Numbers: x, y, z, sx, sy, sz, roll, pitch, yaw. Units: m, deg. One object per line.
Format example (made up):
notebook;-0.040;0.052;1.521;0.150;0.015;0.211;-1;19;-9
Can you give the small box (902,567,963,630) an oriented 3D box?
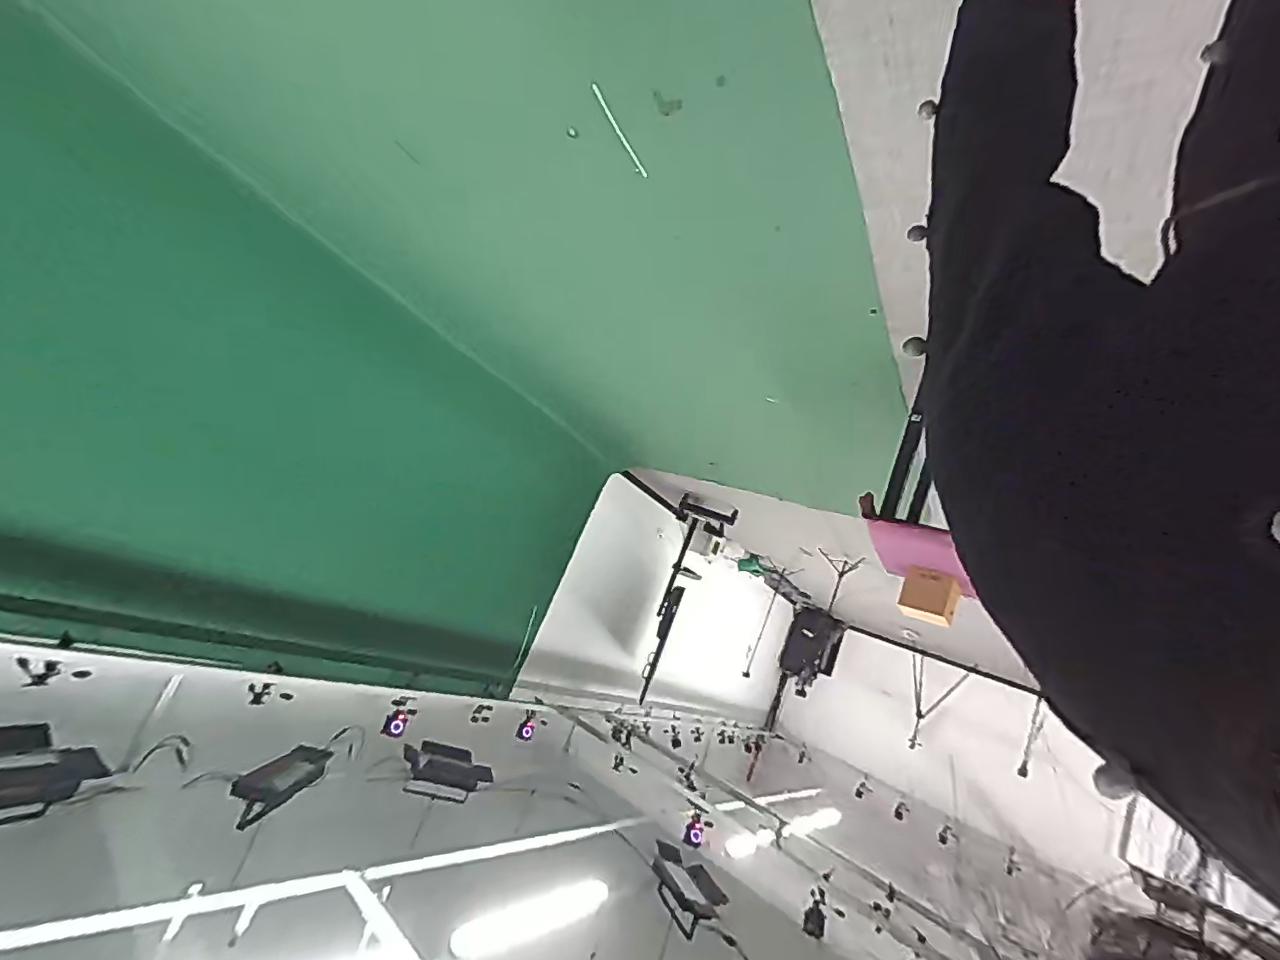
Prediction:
small box;1.137;0.457;2.093;0.168;0.176;0.179;10;161;40
